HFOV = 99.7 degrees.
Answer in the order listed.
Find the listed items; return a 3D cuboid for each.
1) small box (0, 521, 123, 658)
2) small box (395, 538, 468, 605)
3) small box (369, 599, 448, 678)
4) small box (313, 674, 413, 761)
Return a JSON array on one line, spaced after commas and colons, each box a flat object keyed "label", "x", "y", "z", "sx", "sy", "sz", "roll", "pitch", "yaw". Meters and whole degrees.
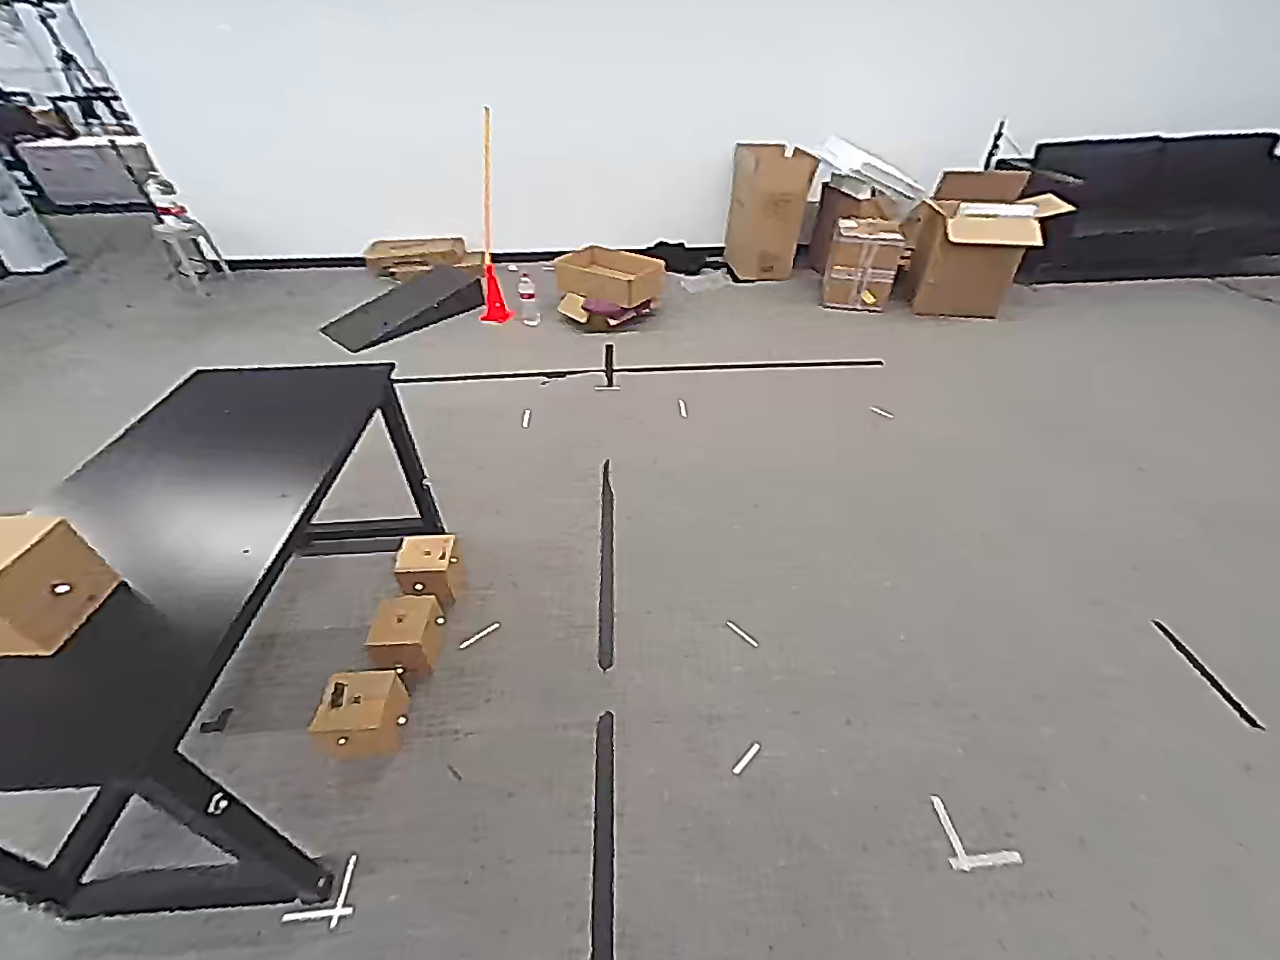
[{"label": "small box", "x": -1.063, "y": 0.187, "z": 0.921, "sx": 0.179, "sy": 0.176, "sz": 0.168, "roll": -1, "pitch": 39, "yaw": 1}, {"label": "small box", "x": -0.719, "y": 0.324, "z": 1.886, "sx": 0.179, "sy": 0.176, "sz": 0.168, "roll": -3, "pitch": 41, "yaw": -2}, {"label": "small box", "x": -0.711, "y": 0.494, "z": 1.685, "sx": 0.168, "sy": 0.176, "sz": 0.179, "roll": -4, "pitch": 40, "yaw": -1}, {"label": "small box", "x": -0.752, "y": 0.657, "z": 1.489, "sx": 0.179, "sy": 0.176, "sz": 0.168, "roll": -2, "pitch": 40, "yaw": -3}]
